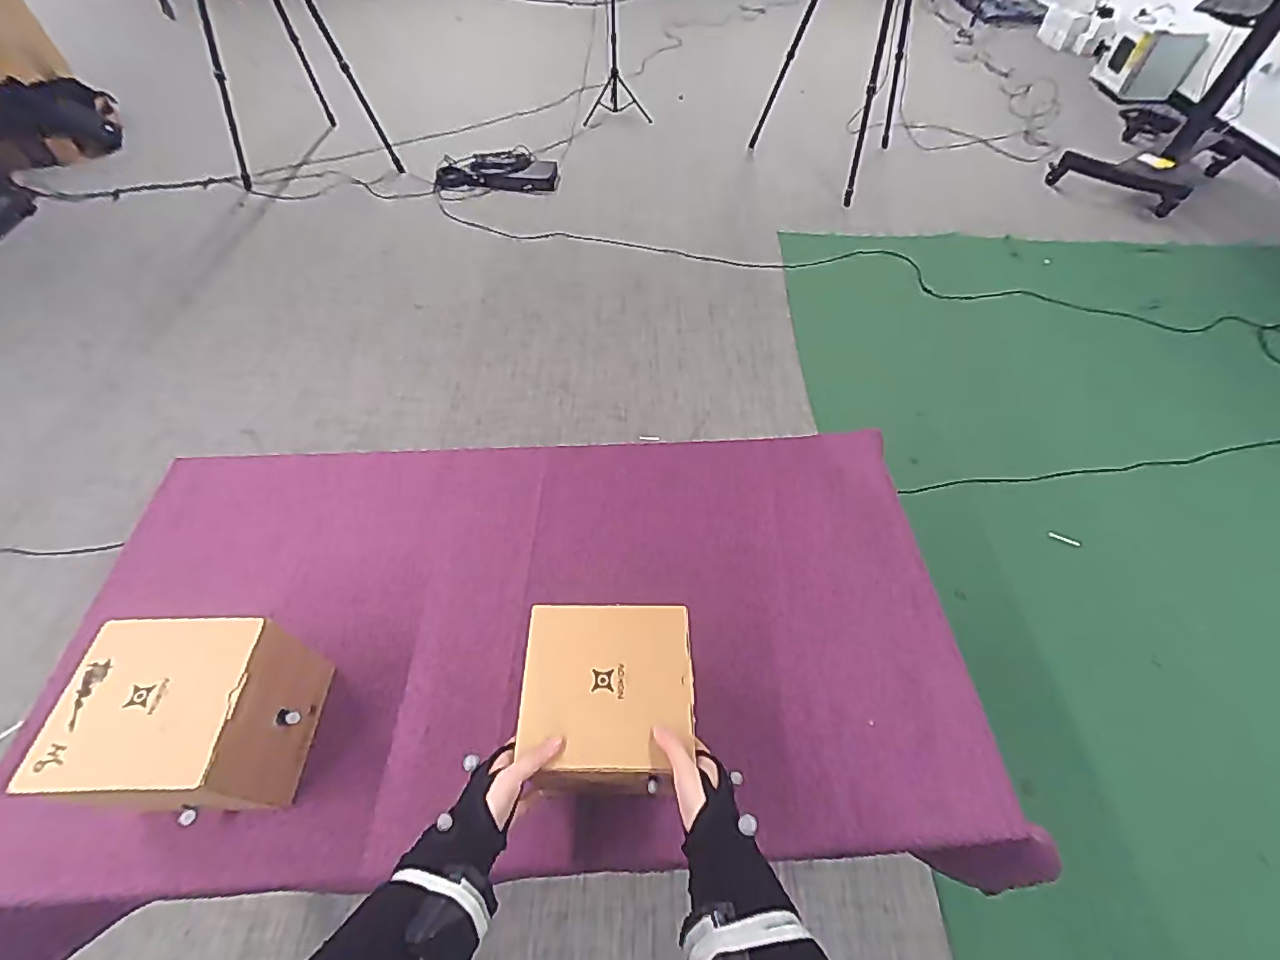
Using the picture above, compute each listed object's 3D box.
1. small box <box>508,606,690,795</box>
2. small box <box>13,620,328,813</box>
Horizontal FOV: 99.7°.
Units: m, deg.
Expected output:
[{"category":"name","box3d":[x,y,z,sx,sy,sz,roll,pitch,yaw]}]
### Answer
[{"category":"small box","box3d":[-0.038,0.257,0.620,0.179,0.176,0.168,1,53,0]},{"category":"small box","box3d":[-0.490,0.267,0.607,0.179,0.176,0.168,0,53,-1]}]
